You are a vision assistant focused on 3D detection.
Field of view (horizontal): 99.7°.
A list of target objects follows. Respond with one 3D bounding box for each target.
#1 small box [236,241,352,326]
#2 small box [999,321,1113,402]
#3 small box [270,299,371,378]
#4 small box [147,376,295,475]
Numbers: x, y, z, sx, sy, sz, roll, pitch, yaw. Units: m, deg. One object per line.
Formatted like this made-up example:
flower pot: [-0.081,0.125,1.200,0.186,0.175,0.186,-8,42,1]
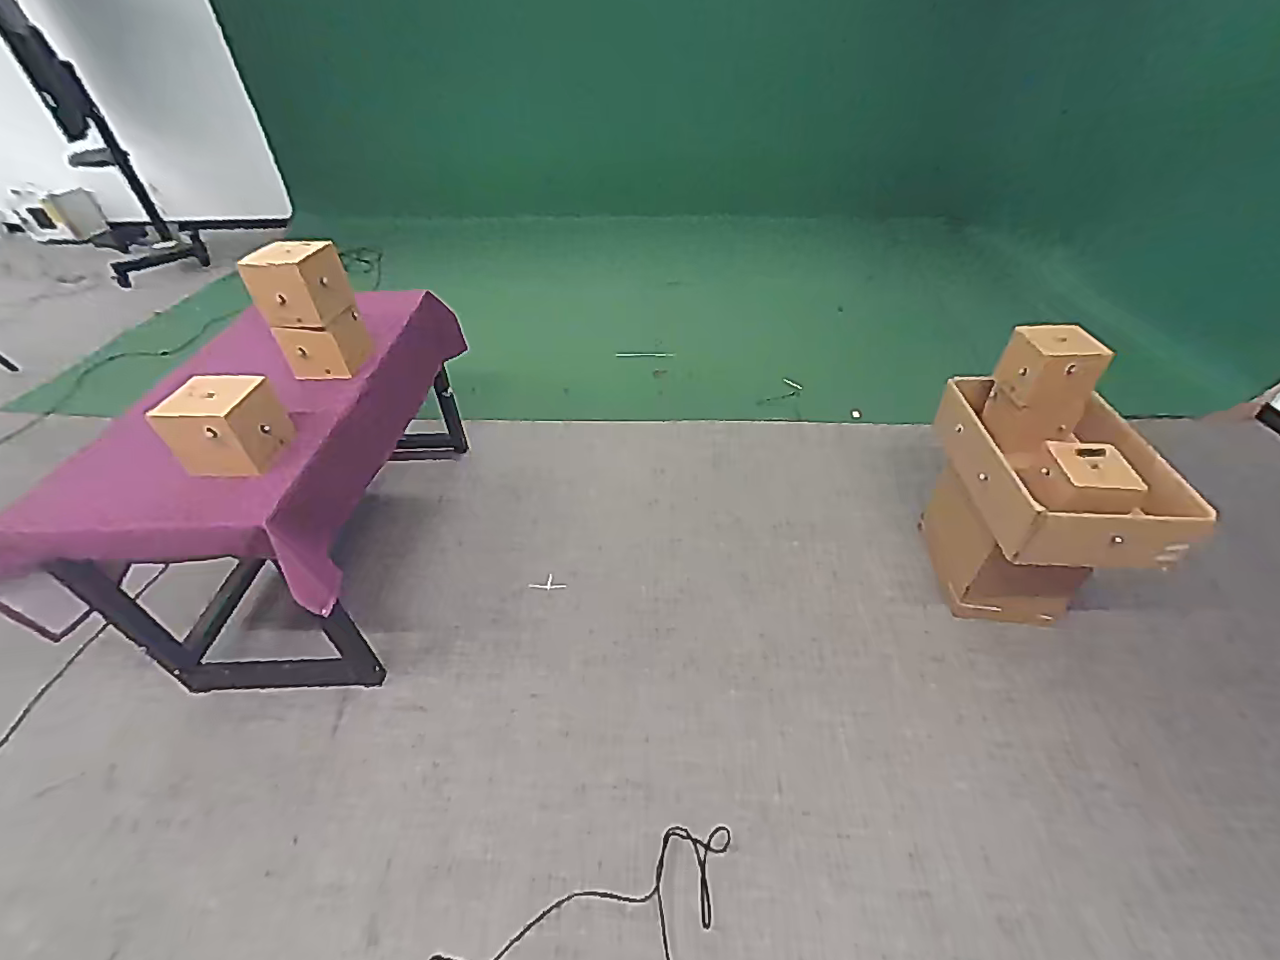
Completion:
small box: [-0.910,-0.524,1.446,0.168,0.176,0.179,2,42,5]
small box: [1.148,-0.330,1.514,0.179,0.176,0.168,-1,42,1]
small box: [-0.908,-0.406,1.560,0.168,0.176,0.179,-1,41,2]
small box: [-0.944,-0.123,1.241,0.179,0.176,0.168,0,41,3]
